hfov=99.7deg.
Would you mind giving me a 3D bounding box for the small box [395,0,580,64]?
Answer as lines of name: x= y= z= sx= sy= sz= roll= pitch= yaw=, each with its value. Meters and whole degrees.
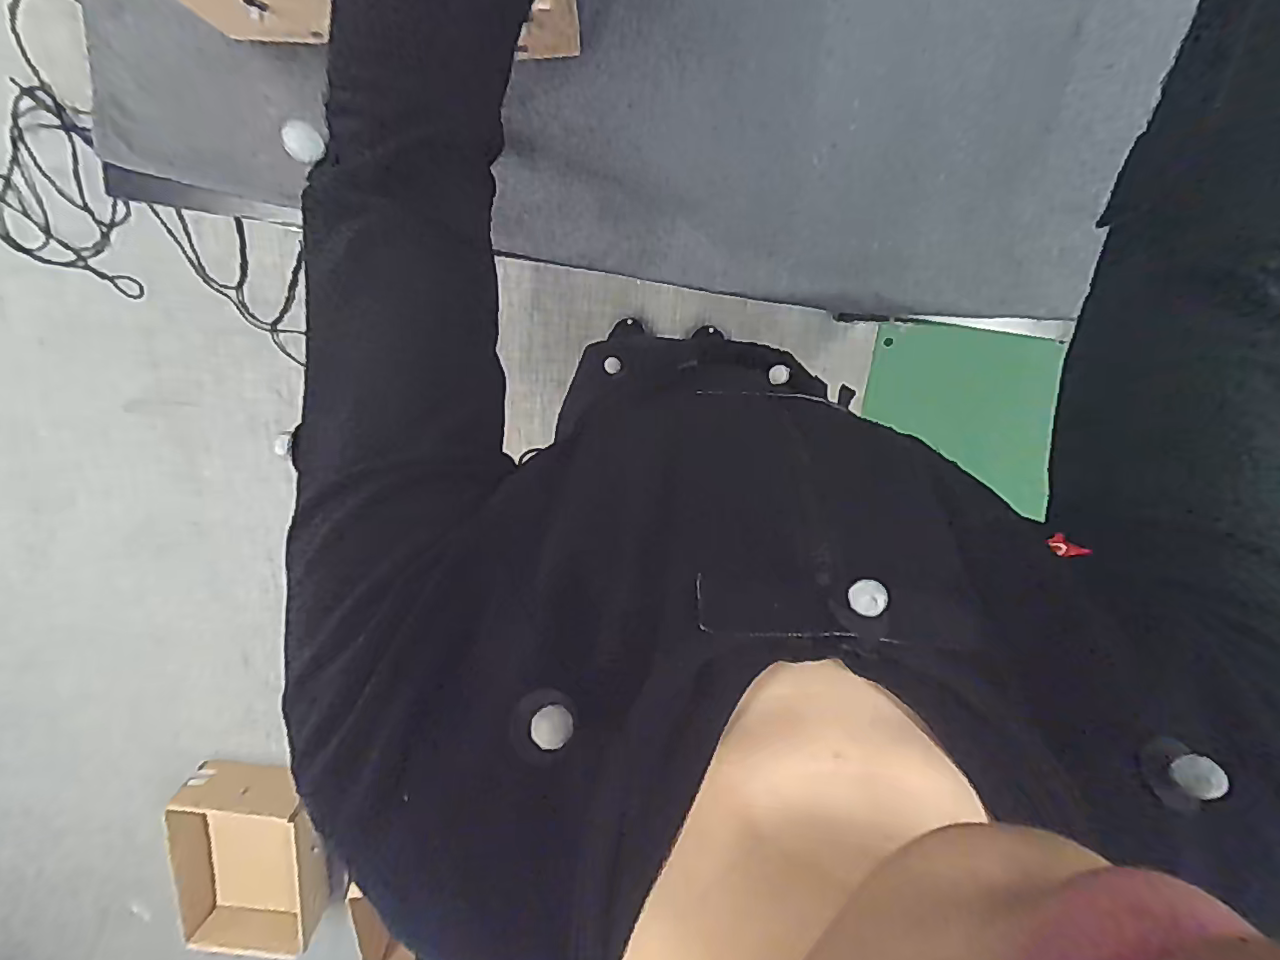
small box: x=-0.149 y=-0.520 z=0.504 sx=0.168 sy=0.176 sz=0.179 roll=-3 pitch=106 yaw=0
